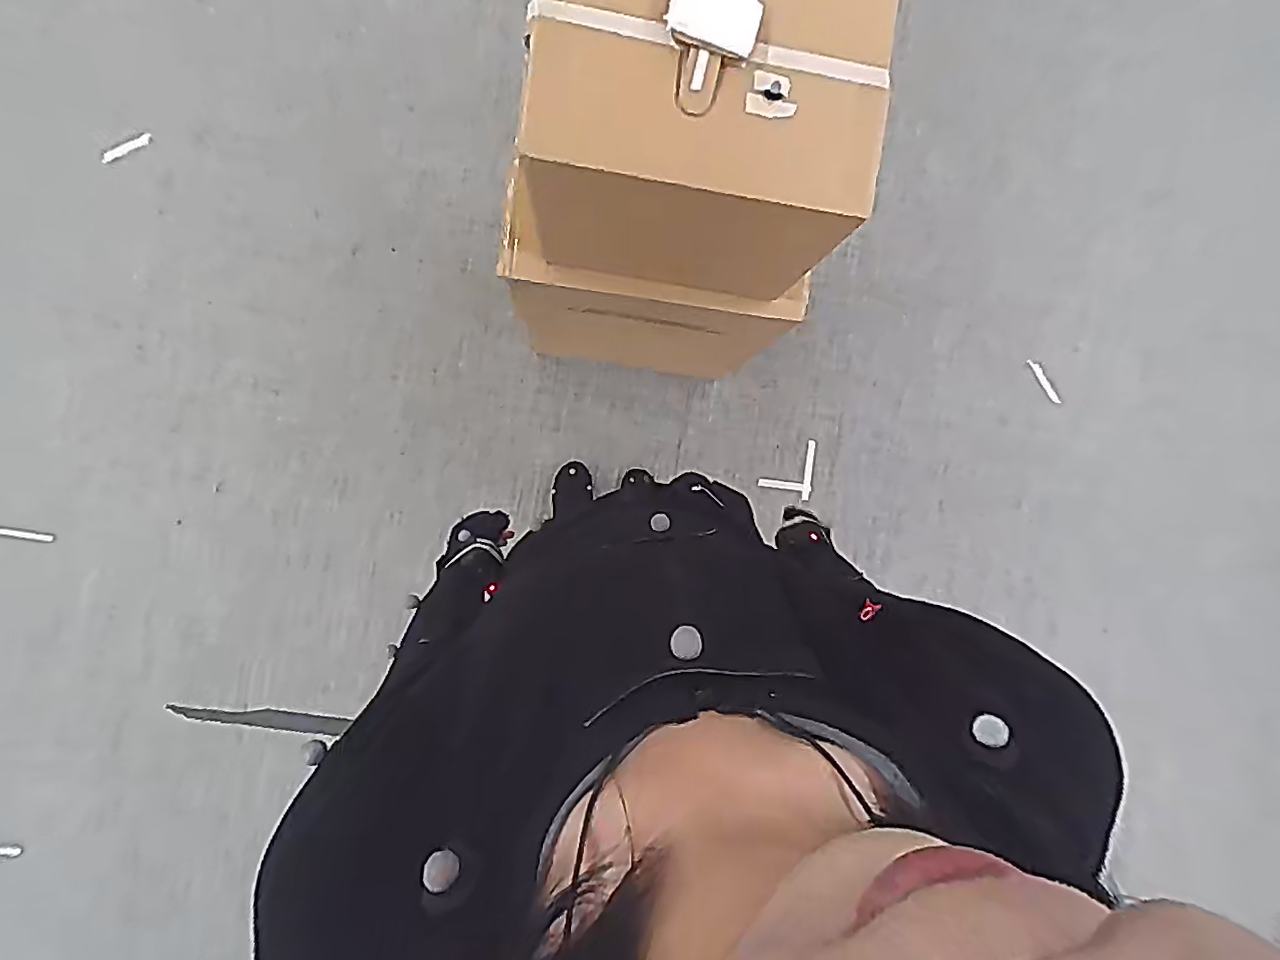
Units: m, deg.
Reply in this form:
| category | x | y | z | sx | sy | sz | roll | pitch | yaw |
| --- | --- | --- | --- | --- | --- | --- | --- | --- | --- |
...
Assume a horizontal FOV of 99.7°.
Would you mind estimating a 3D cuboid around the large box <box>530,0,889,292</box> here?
| category | x | y | z | sx | sy | sz | roll | pitch | yaw |
| --- | --- | --- | --- | --- | --- | --- | --- | --- | --- |
| large box | 0.070 | -0.492 | 0.765 | 0.408 | 0.320 | 0.320 | 7 | 91 | -7 |
